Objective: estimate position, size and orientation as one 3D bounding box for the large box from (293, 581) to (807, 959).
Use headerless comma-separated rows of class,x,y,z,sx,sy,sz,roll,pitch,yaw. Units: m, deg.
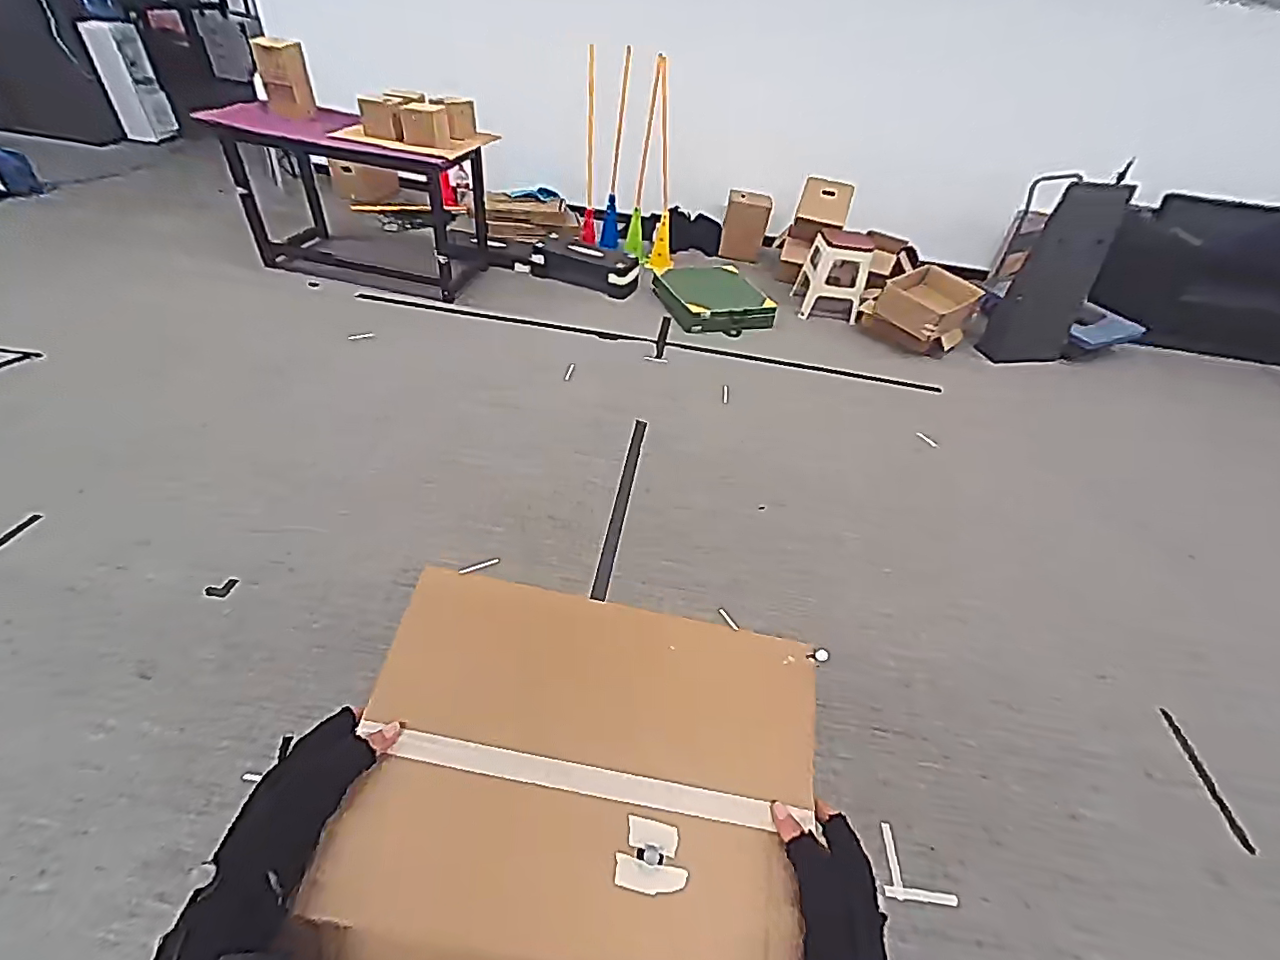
large box,-0.062,0.343,0.612,0.408,0.320,0.320,12,60,1
